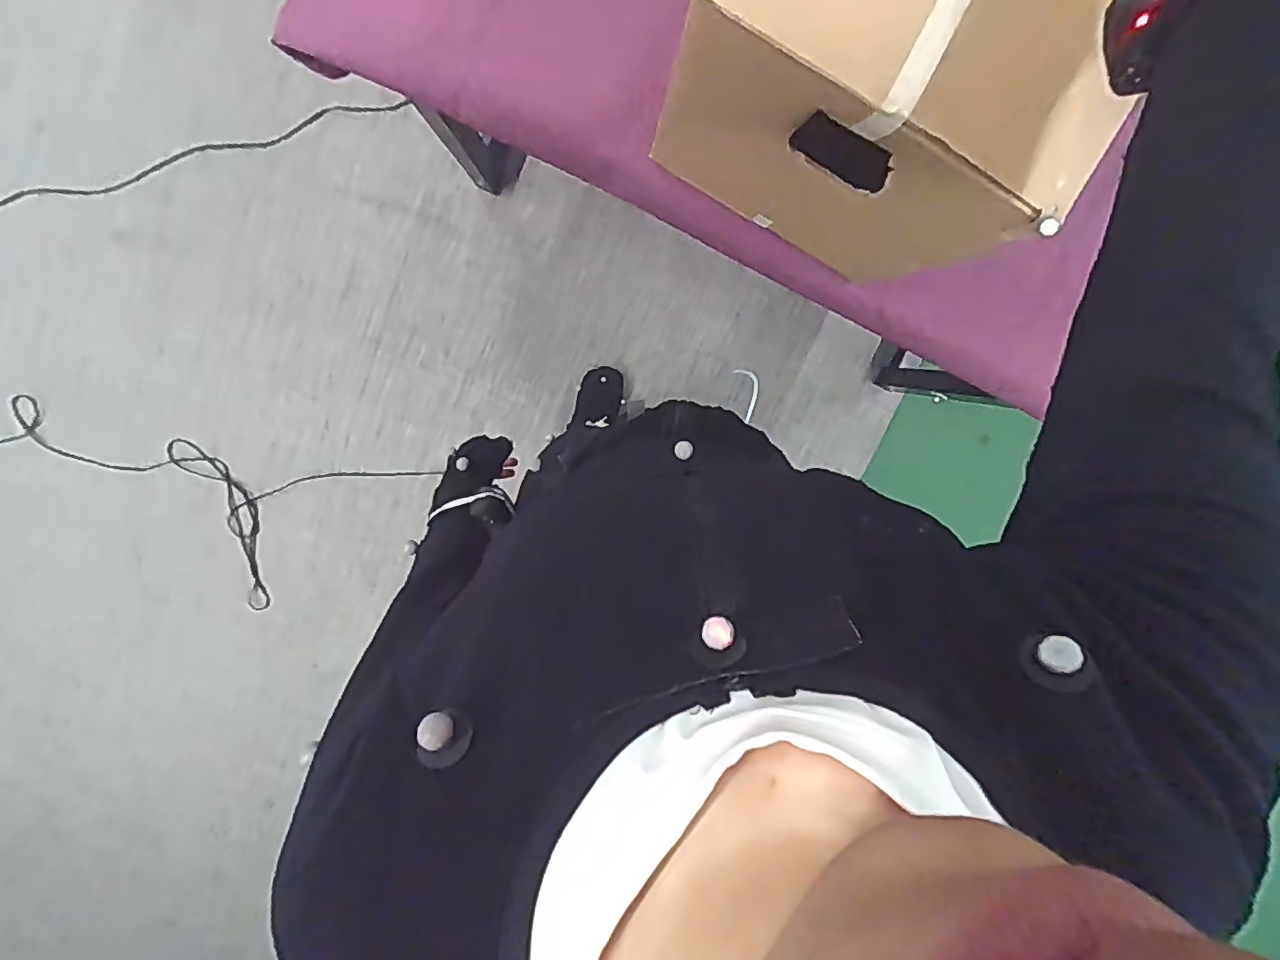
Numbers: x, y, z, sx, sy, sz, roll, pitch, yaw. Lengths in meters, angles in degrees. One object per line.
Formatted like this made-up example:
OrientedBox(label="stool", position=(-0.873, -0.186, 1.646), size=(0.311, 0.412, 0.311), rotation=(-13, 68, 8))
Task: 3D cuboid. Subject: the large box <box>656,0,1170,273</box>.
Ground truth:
OrientedBox(label="large box", position=(0.249, -0.469, 0.506), size=(0.320, 0.320, 0.408), rotation=(26, 101, -9))
